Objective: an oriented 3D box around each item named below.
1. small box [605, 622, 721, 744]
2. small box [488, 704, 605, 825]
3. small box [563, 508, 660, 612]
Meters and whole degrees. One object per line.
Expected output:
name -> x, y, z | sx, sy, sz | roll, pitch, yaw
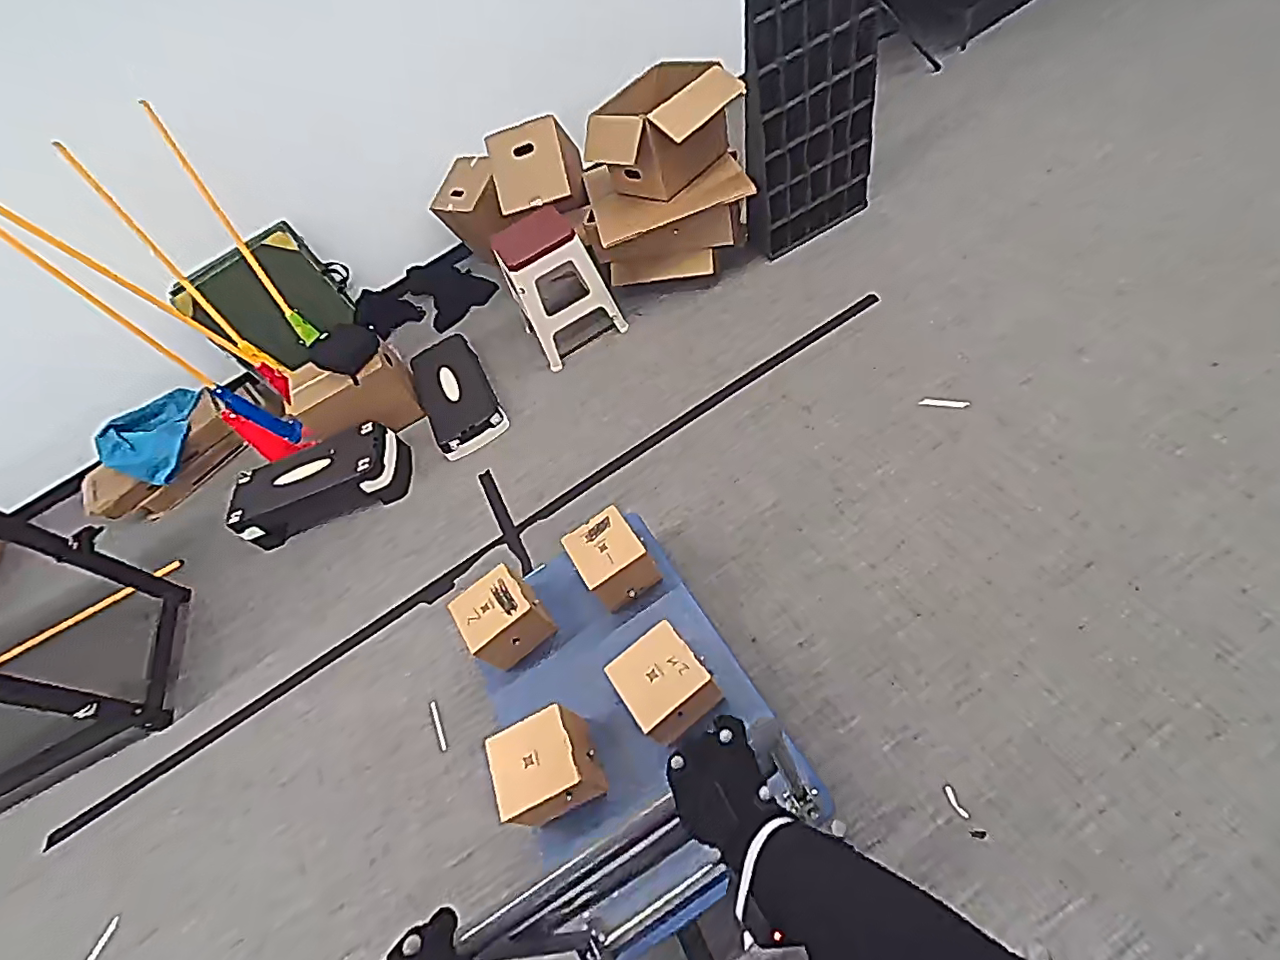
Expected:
small box -> 0.057, 0.453, 1.196 | 0.179, 0.176, 0.168 | -37, 53, -7
small box -> -0.199, 0.621, 1.171 | 0.179, 0.176, 0.168 | -27, 52, -2
small box -> -0.071, 0.212, 1.408 | 0.168, 0.176, 0.179 | -34, 54, -5
